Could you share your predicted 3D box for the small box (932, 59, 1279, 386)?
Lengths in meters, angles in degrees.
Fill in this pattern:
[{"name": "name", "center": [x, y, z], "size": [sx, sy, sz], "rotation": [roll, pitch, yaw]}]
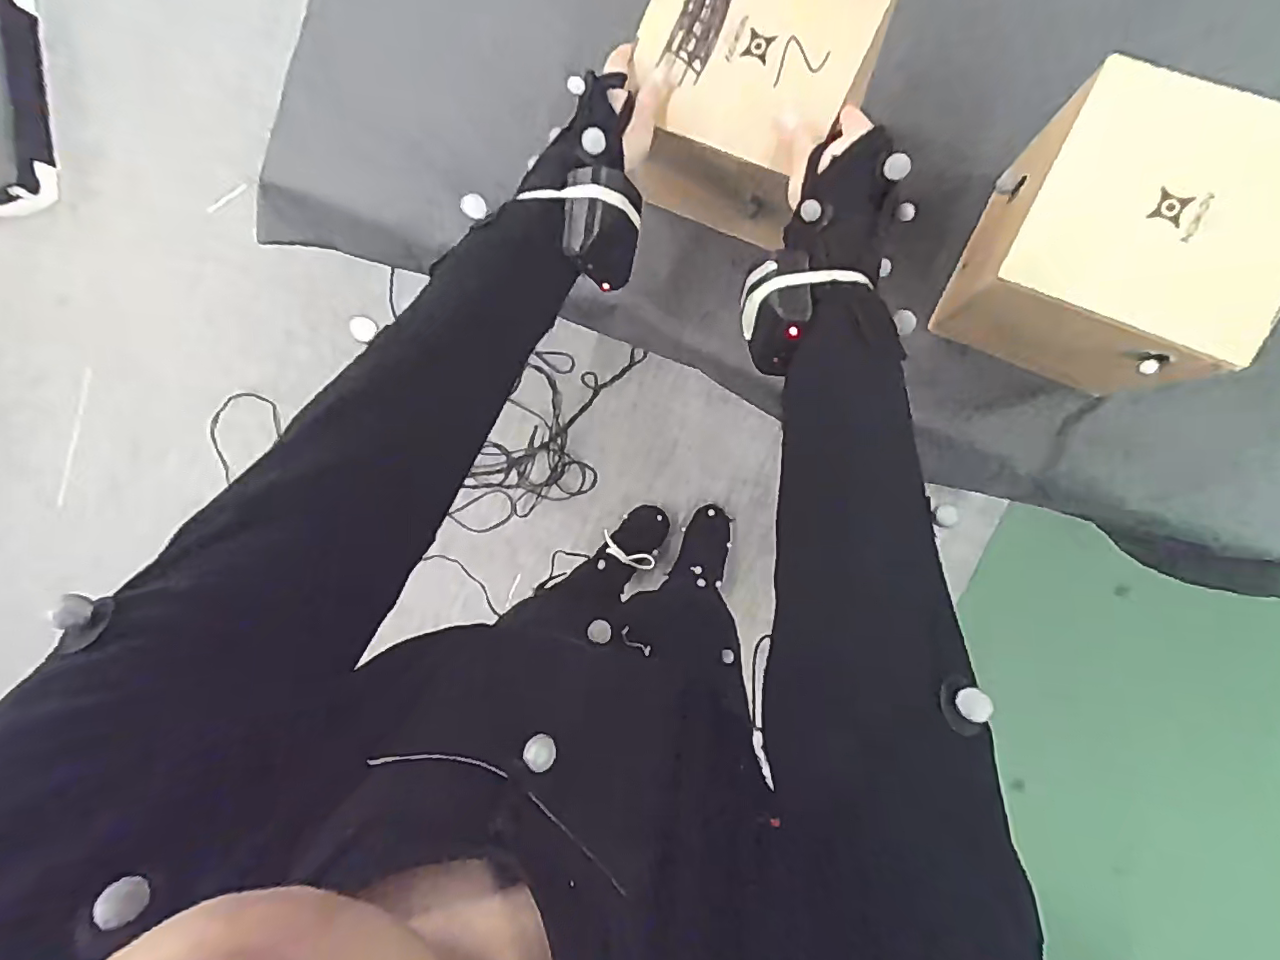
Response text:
[{"name": "small box", "center": [0.382, -0.188, 0.450], "size": [0.179, 0.176, 0.168], "rotation": [25, 97, 9]}]
